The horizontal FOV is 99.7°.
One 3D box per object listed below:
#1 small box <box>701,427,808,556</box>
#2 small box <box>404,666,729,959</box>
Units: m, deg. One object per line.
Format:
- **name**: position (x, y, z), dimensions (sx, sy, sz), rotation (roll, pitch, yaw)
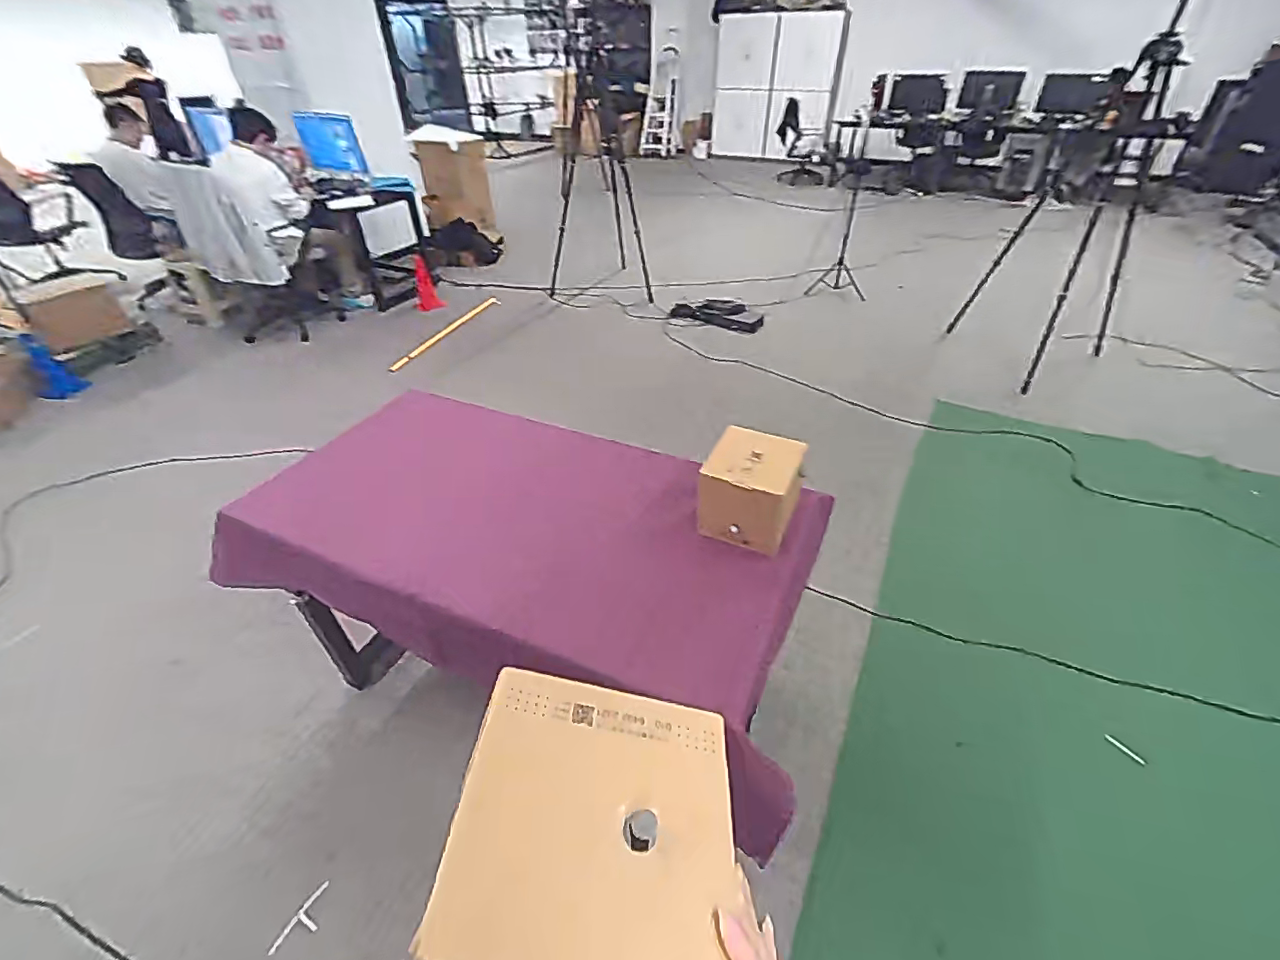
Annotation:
- **small box**: position (0.229, 0.021, 1.105), dimensions (0.168, 0.176, 0.179), rotation (17, 45, 23)
- **small box**: position (-0.052, 0.258, 0.374), dimensions (0.168, 0.179, 0.176), rotation (15, 33, -6)
